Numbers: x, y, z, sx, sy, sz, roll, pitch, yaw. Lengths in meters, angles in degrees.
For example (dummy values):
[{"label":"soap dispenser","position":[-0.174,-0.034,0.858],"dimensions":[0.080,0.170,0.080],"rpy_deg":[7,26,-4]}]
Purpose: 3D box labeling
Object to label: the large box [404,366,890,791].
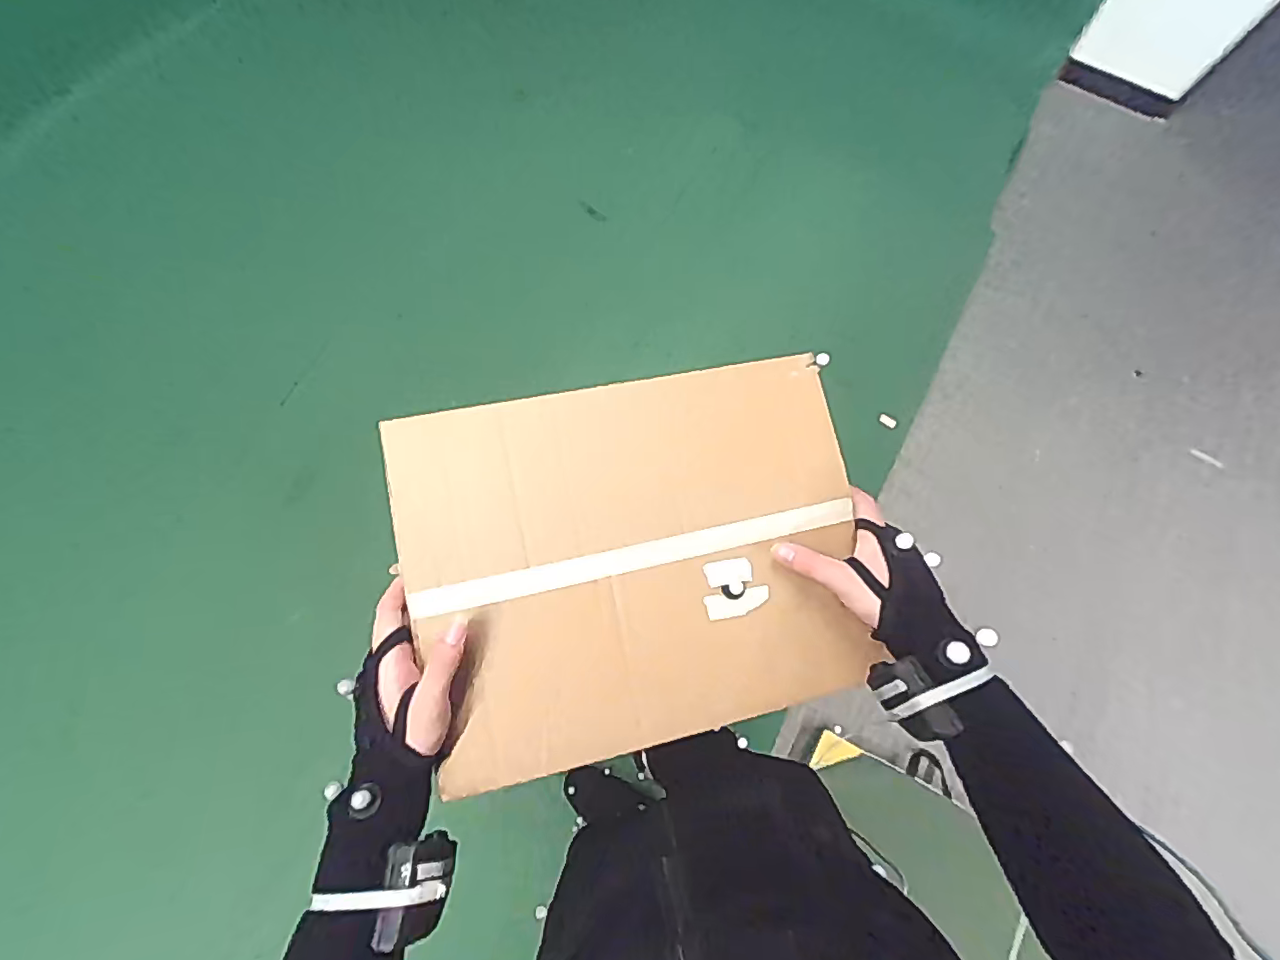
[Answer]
[{"label":"large box","position":[-0.011,0.095,0.635],"dimensions":[0.408,0.320,0.320],"rpy_deg":[-11,82,-11]}]
